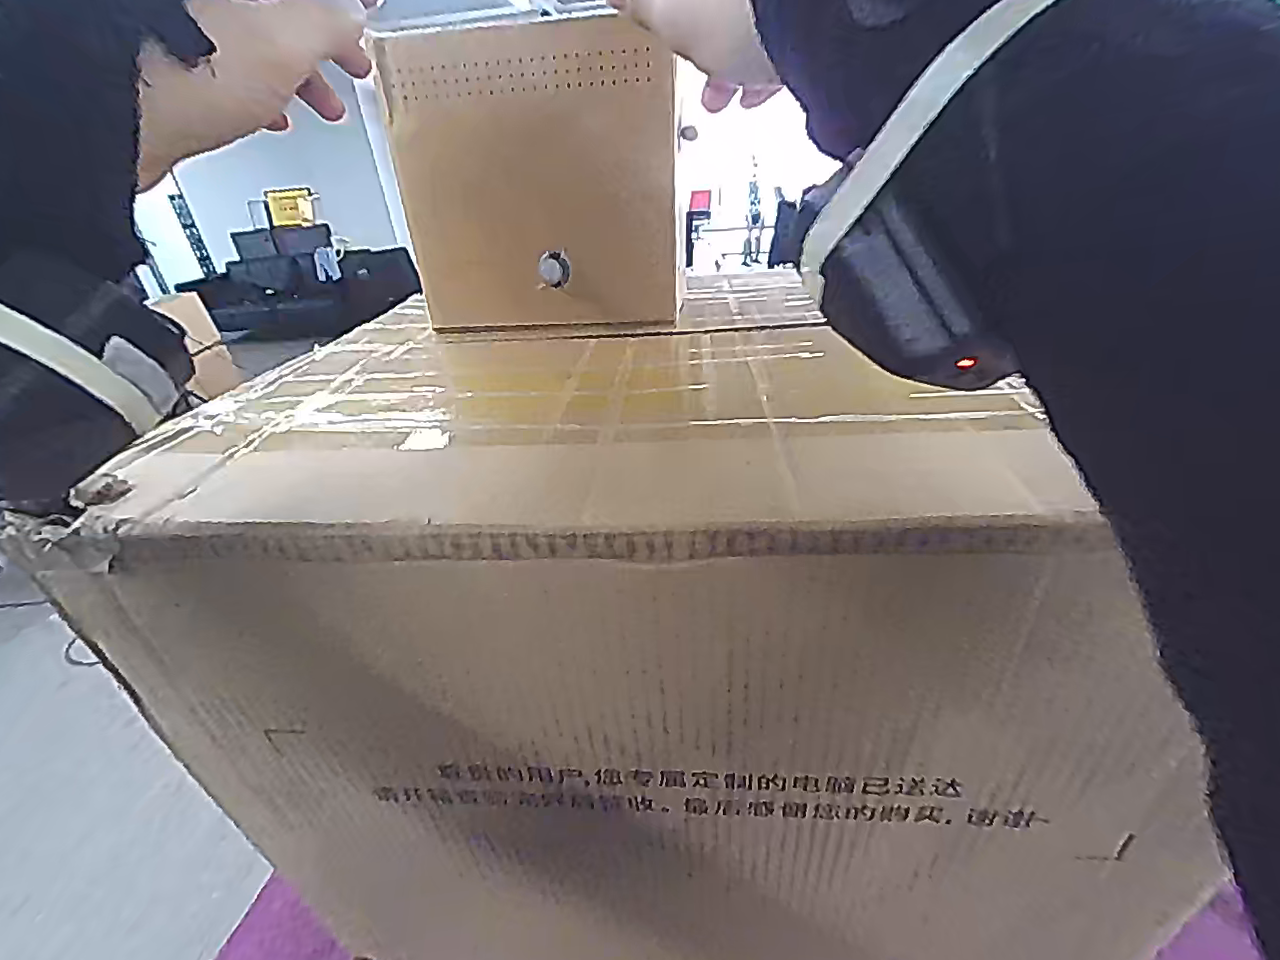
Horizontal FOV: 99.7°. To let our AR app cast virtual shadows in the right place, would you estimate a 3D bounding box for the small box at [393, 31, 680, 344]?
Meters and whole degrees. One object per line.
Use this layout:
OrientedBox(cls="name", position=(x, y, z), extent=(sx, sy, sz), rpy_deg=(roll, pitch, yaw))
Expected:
OrientedBox(cls="small box", position=(-0.060, -0.209, 0.407), extent=(0.179, 0.176, 0.168), rpy_deg=(0, 30, 7))
